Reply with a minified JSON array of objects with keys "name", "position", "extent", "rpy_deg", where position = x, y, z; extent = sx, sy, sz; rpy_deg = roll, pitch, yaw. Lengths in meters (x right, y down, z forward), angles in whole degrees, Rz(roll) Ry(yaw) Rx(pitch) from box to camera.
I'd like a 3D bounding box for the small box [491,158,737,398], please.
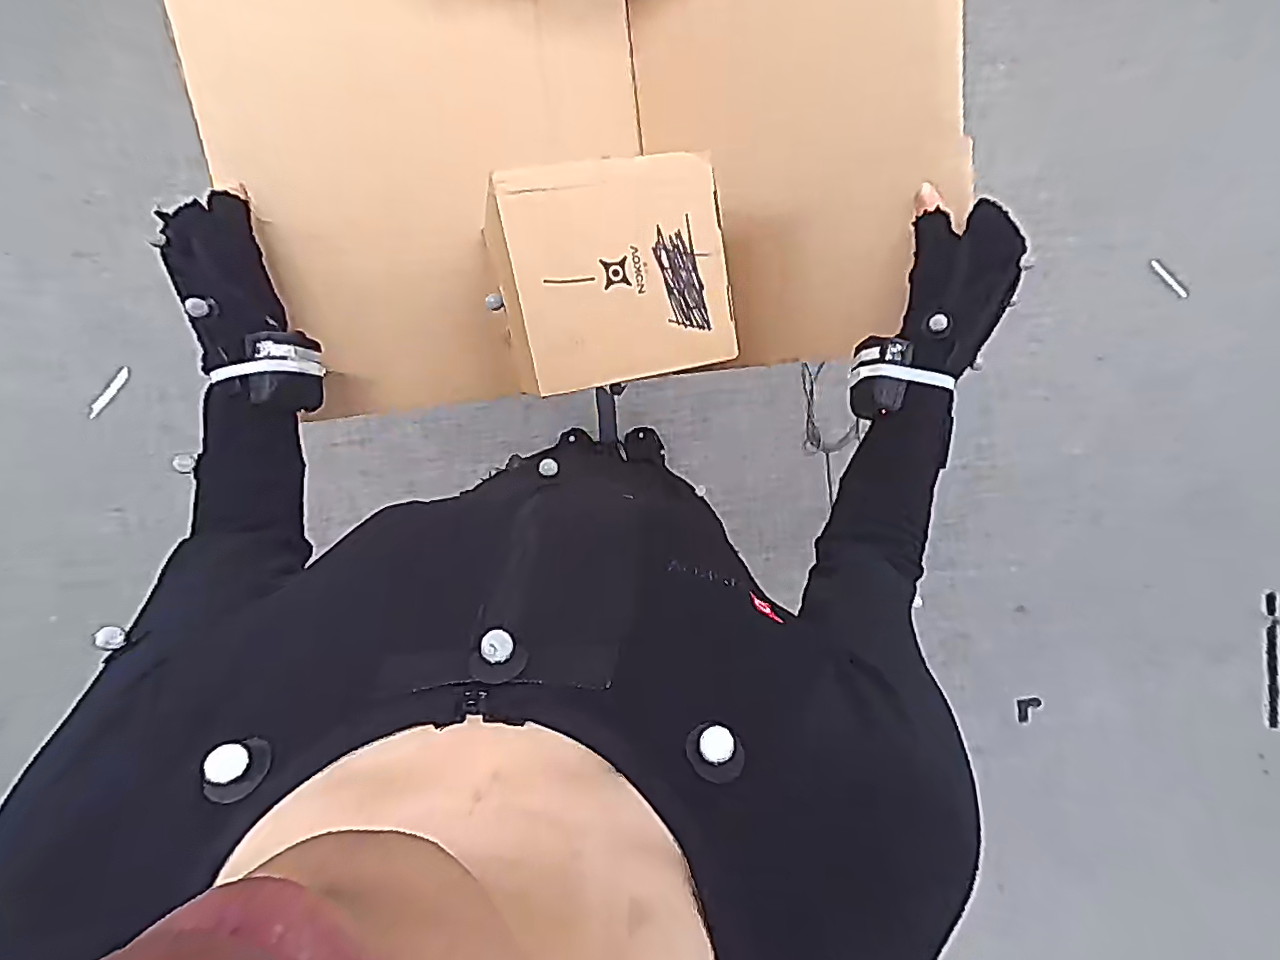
[{"name":"small box","position":[-0.032,-0.177,0.505],"extent":[0.179,0.176,0.168],"rpy_deg":[-14,104,-14]}]
